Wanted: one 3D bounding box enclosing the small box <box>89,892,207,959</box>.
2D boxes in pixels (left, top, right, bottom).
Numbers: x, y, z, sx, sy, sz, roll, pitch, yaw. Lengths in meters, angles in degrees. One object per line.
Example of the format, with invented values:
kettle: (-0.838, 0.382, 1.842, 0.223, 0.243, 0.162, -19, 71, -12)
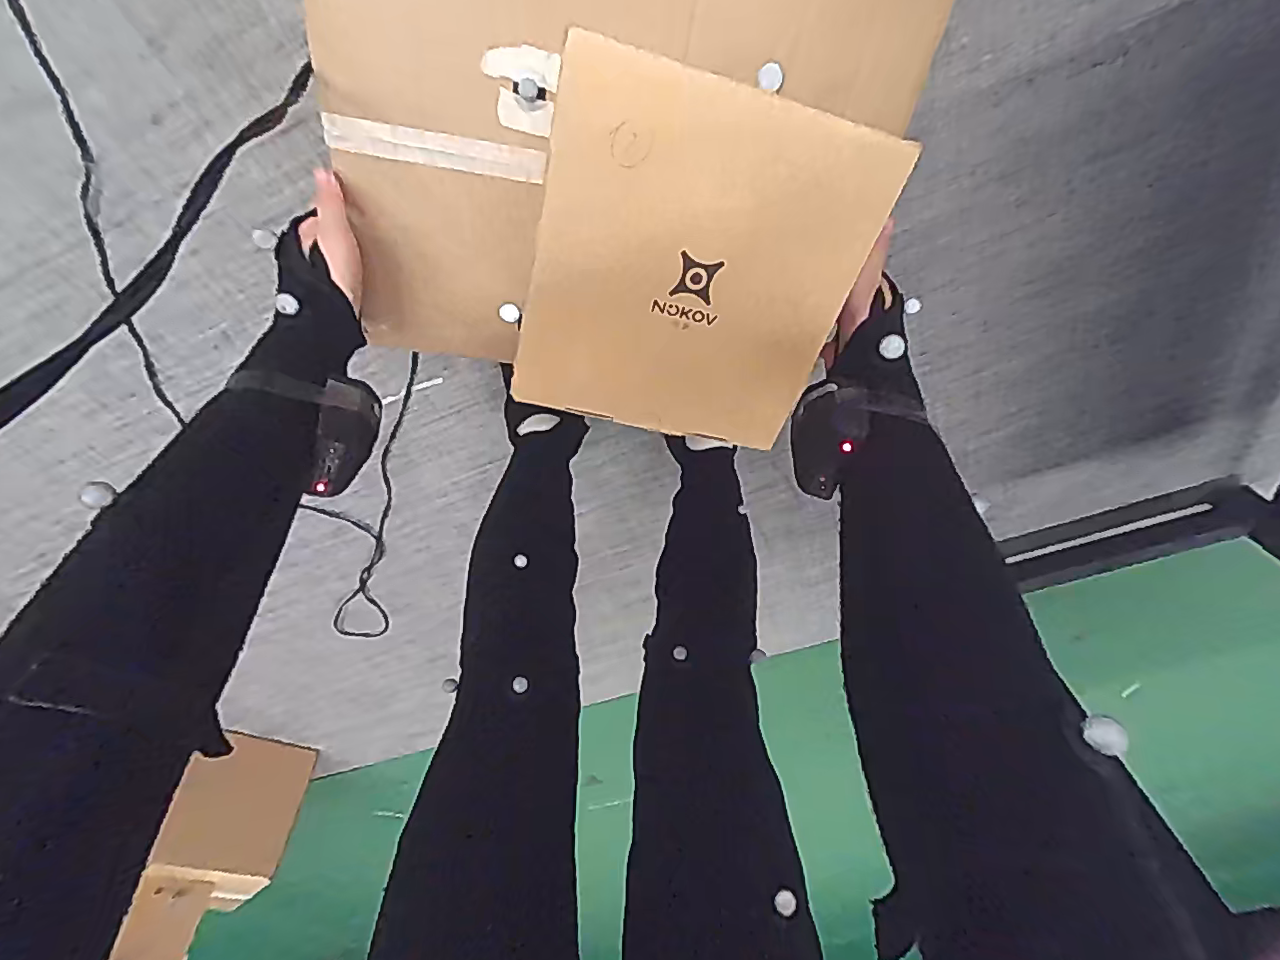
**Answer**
small box: (-1.111, 1.050, 1.203, 0.168, 0.176, 0.179, 27, 121, -24)
